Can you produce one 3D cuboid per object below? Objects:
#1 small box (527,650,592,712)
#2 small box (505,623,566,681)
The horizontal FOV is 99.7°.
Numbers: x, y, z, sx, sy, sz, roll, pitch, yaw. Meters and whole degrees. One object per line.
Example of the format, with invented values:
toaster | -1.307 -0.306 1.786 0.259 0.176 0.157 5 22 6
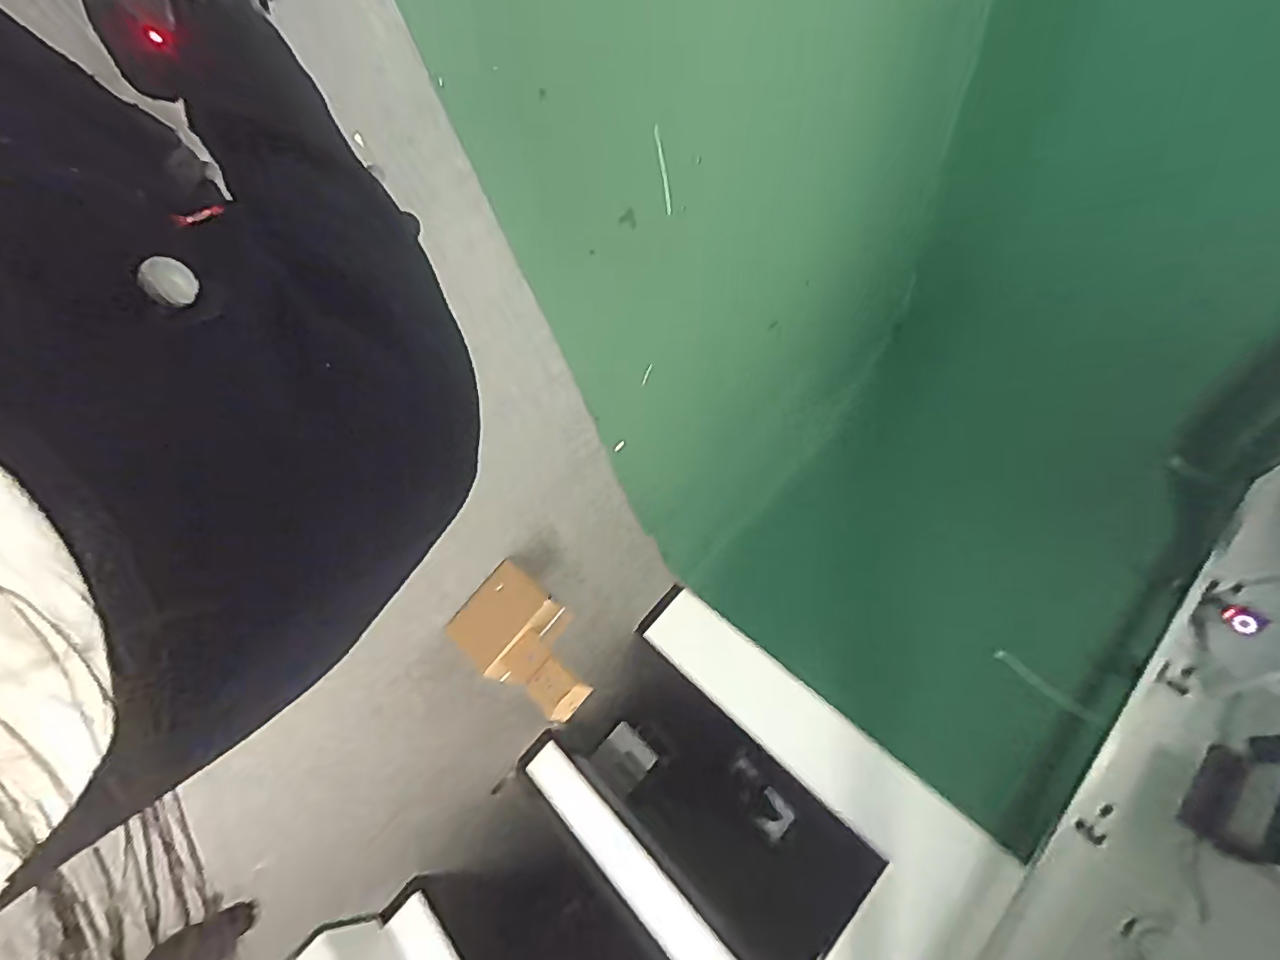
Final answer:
small box | -0.333 0.823 2.219 0.168 0.176 0.179 -49 149 -11
small box | -0.450 0.742 2.299 0.179 0.176 0.168 -48 150 -13
